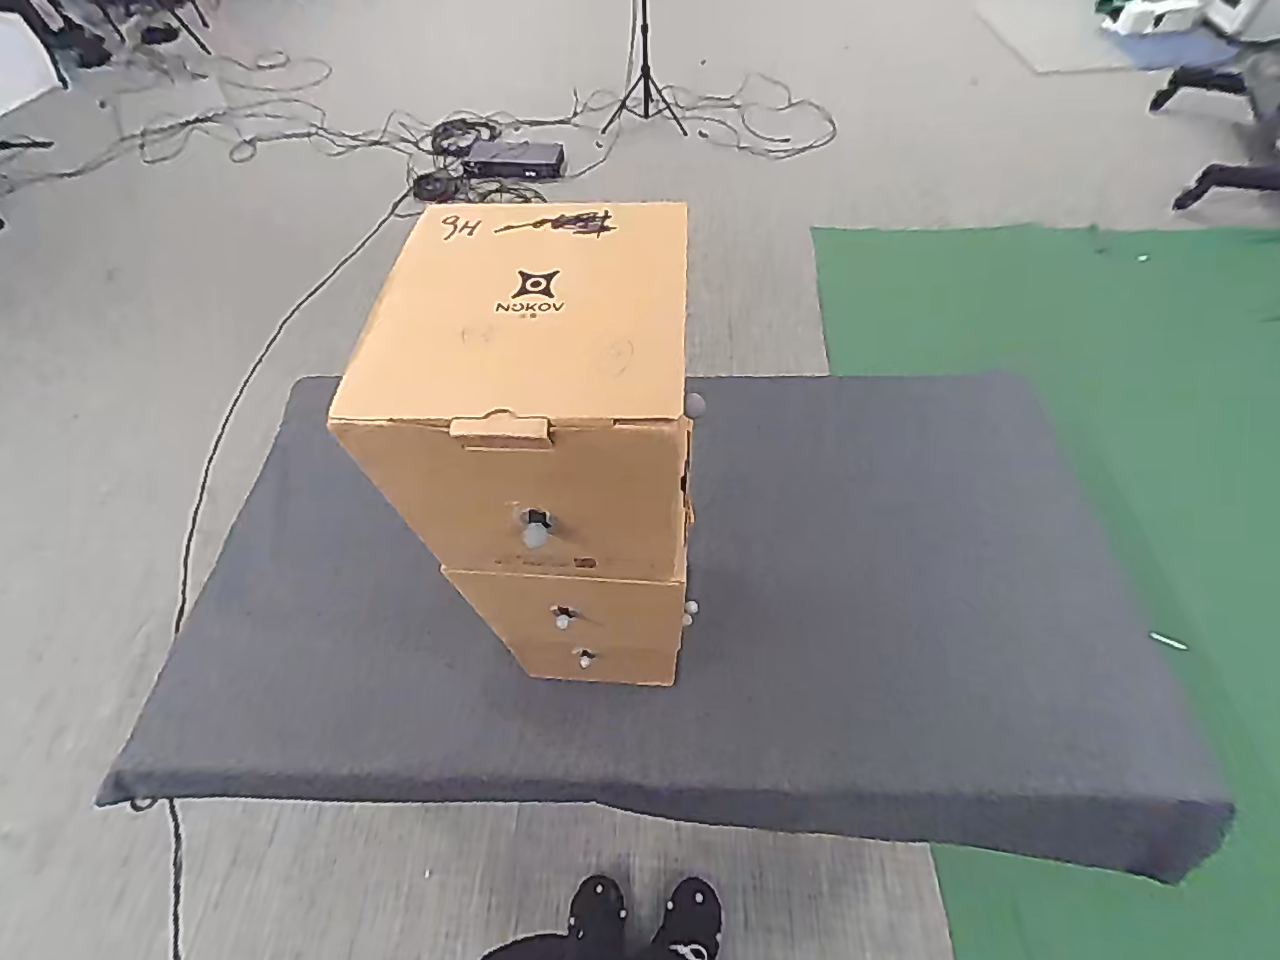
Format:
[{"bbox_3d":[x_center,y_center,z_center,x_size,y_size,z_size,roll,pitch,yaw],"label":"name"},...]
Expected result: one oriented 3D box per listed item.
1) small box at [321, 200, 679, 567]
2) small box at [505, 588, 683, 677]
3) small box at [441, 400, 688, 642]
[{"bbox_3d":[-0.059,-0.052,0.356,0.168,0.176,0.179,0,58,4],"label":"small box"},{"bbox_3d":[-0.040,0.126,0.630,0.179,0.176,0.168,1,58,3],"label":"small box"},{"bbox_3d":[-0.047,0.041,0.489,0.179,0.176,0.168,1,58,6],"label":"small box"}]
